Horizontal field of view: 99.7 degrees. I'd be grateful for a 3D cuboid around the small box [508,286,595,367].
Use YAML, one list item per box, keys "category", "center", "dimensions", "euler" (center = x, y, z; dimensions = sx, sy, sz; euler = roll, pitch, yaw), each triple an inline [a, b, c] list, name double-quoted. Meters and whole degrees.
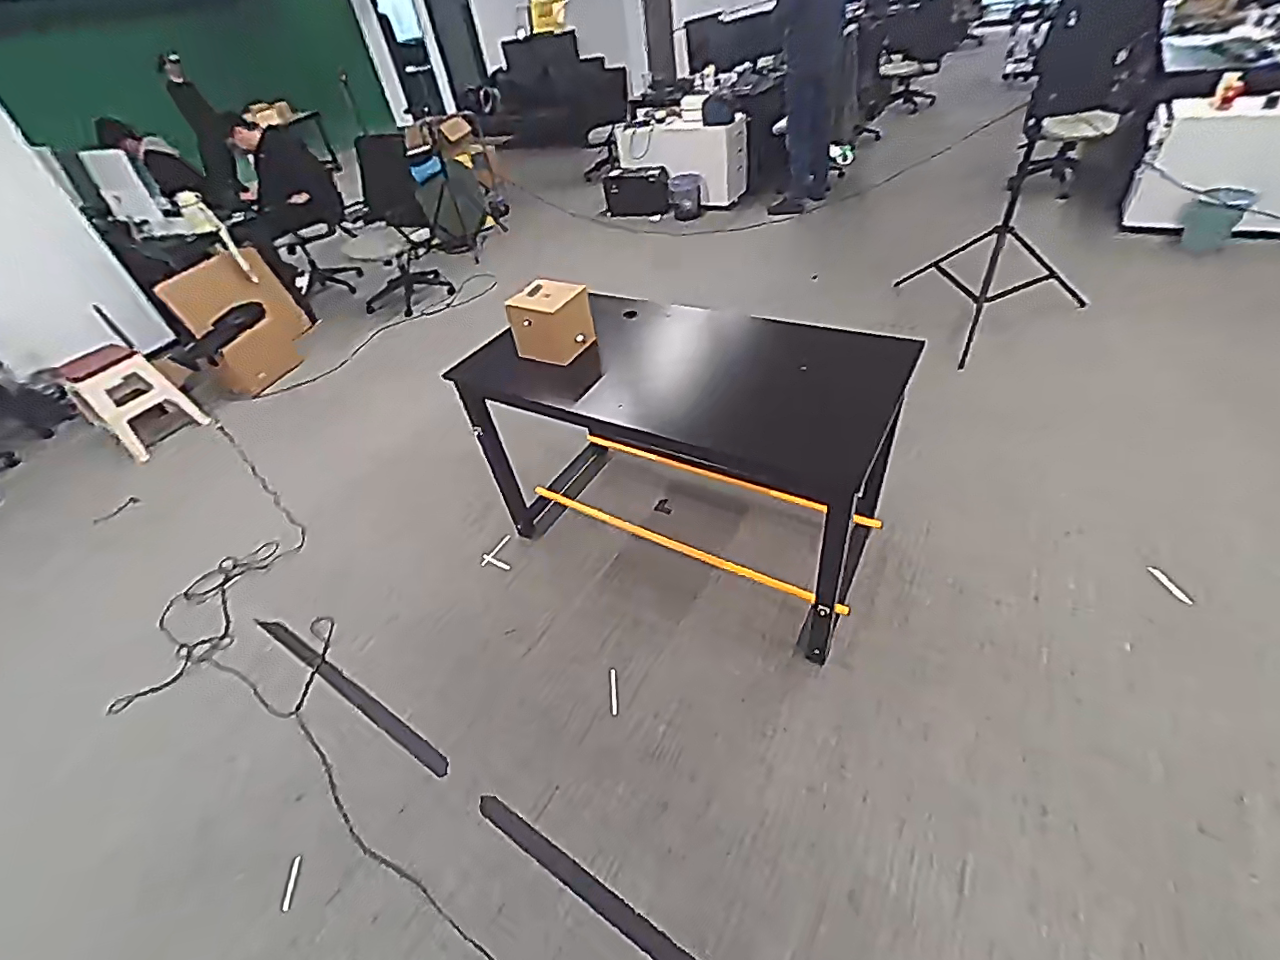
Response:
- category: "small box"
  center: [-0.254, -0.450, 1.588]
  dimensions: [0.179, 0.176, 0.168]
  euler: [17, 49, 25]
